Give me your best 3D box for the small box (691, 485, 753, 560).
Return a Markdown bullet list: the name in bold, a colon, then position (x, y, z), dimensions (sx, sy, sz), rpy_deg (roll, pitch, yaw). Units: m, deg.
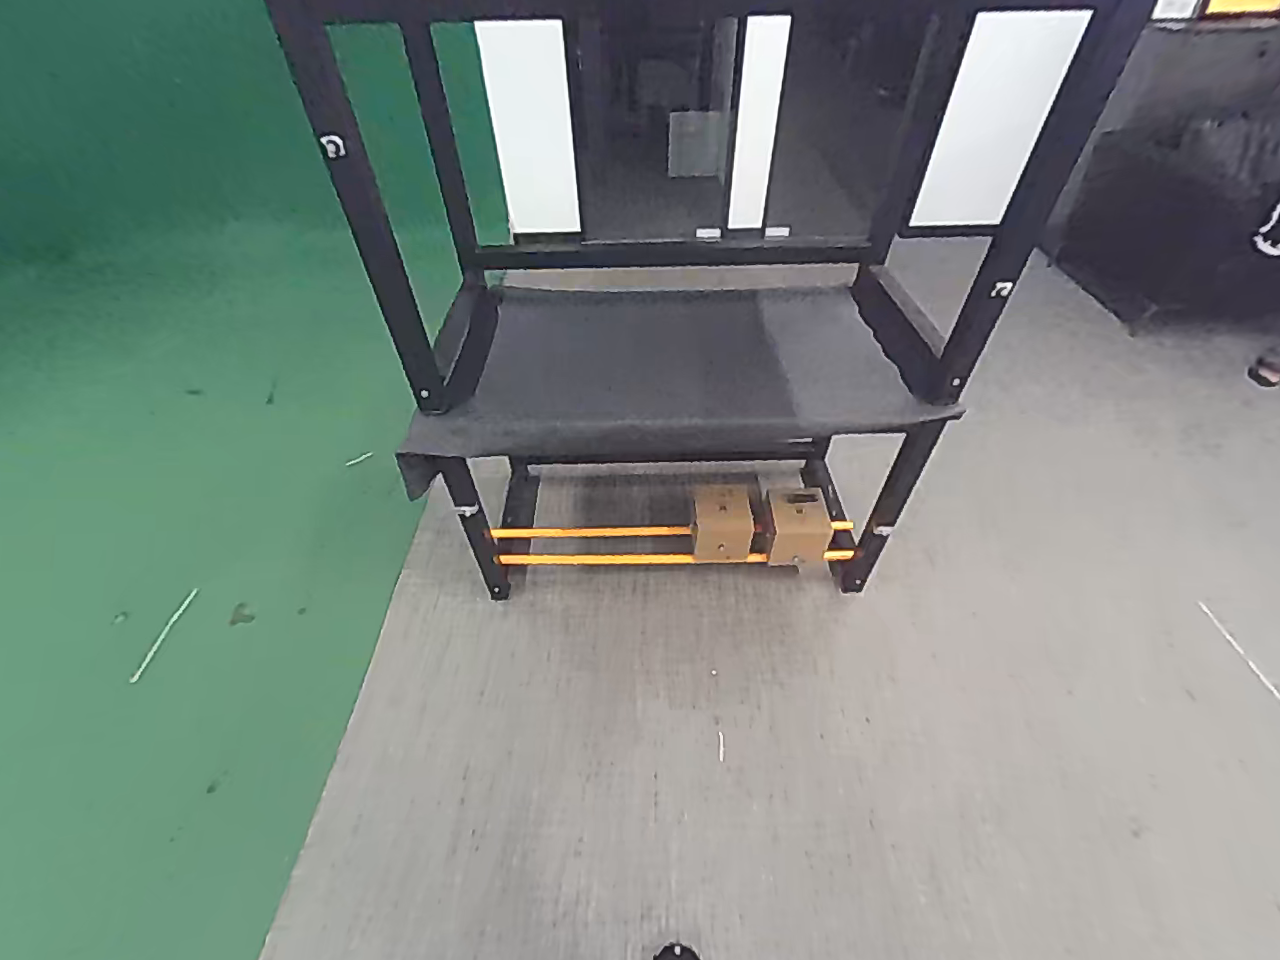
- **small box**: position (0.248, 0.136, 1.671), dimensions (0.168, 0.176, 0.179), rpy_deg (-1, 46, 0)
